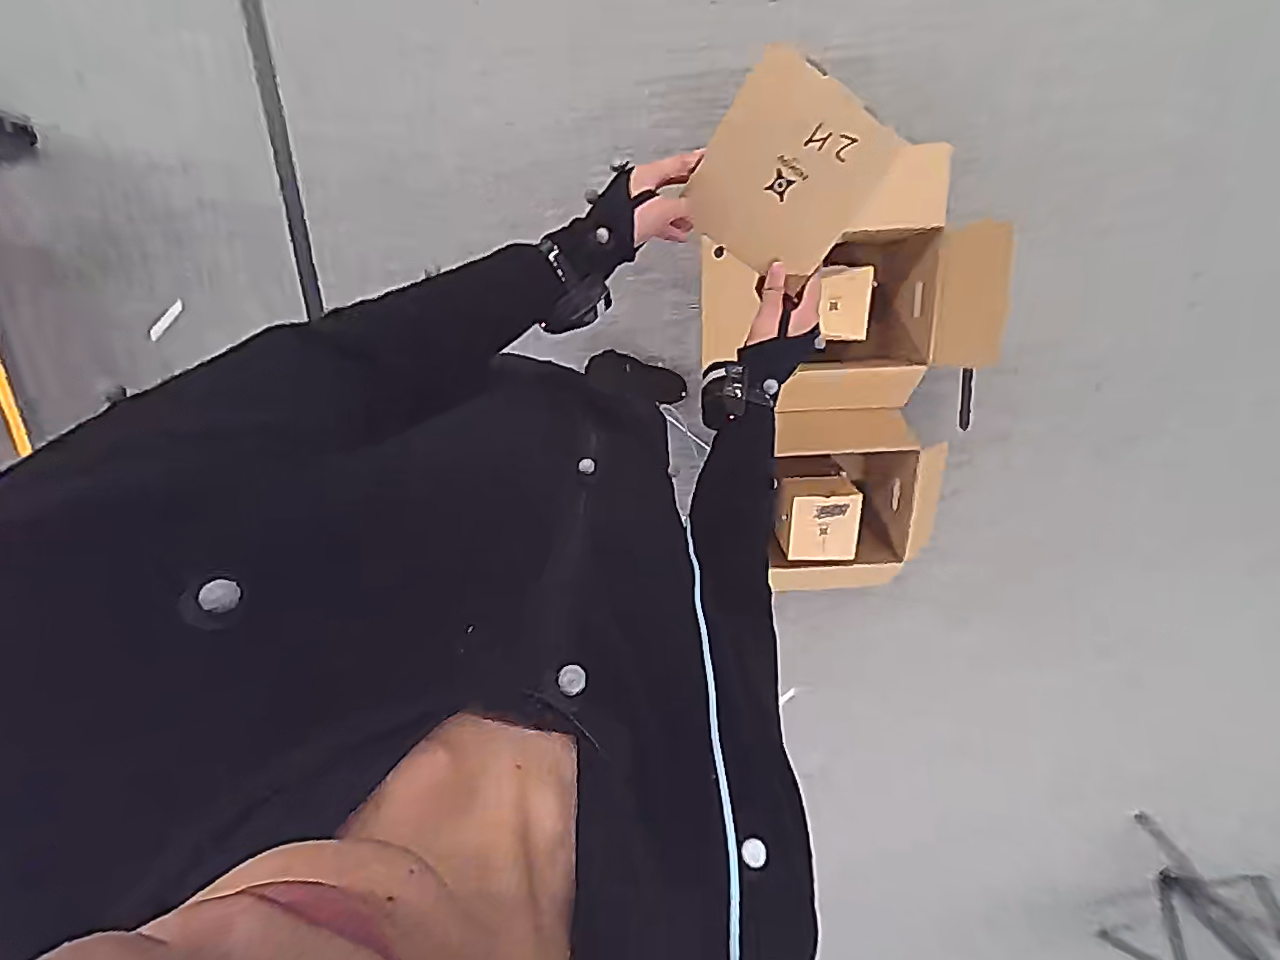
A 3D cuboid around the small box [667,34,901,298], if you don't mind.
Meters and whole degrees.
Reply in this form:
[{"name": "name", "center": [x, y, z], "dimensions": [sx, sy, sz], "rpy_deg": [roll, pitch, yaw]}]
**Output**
[{"name": "small box", "center": [0.146, -0.339, 0.611], "dimensions": [0.168, 0.176, 0.179], "rpy_deg": [30, 116, -13]}]
